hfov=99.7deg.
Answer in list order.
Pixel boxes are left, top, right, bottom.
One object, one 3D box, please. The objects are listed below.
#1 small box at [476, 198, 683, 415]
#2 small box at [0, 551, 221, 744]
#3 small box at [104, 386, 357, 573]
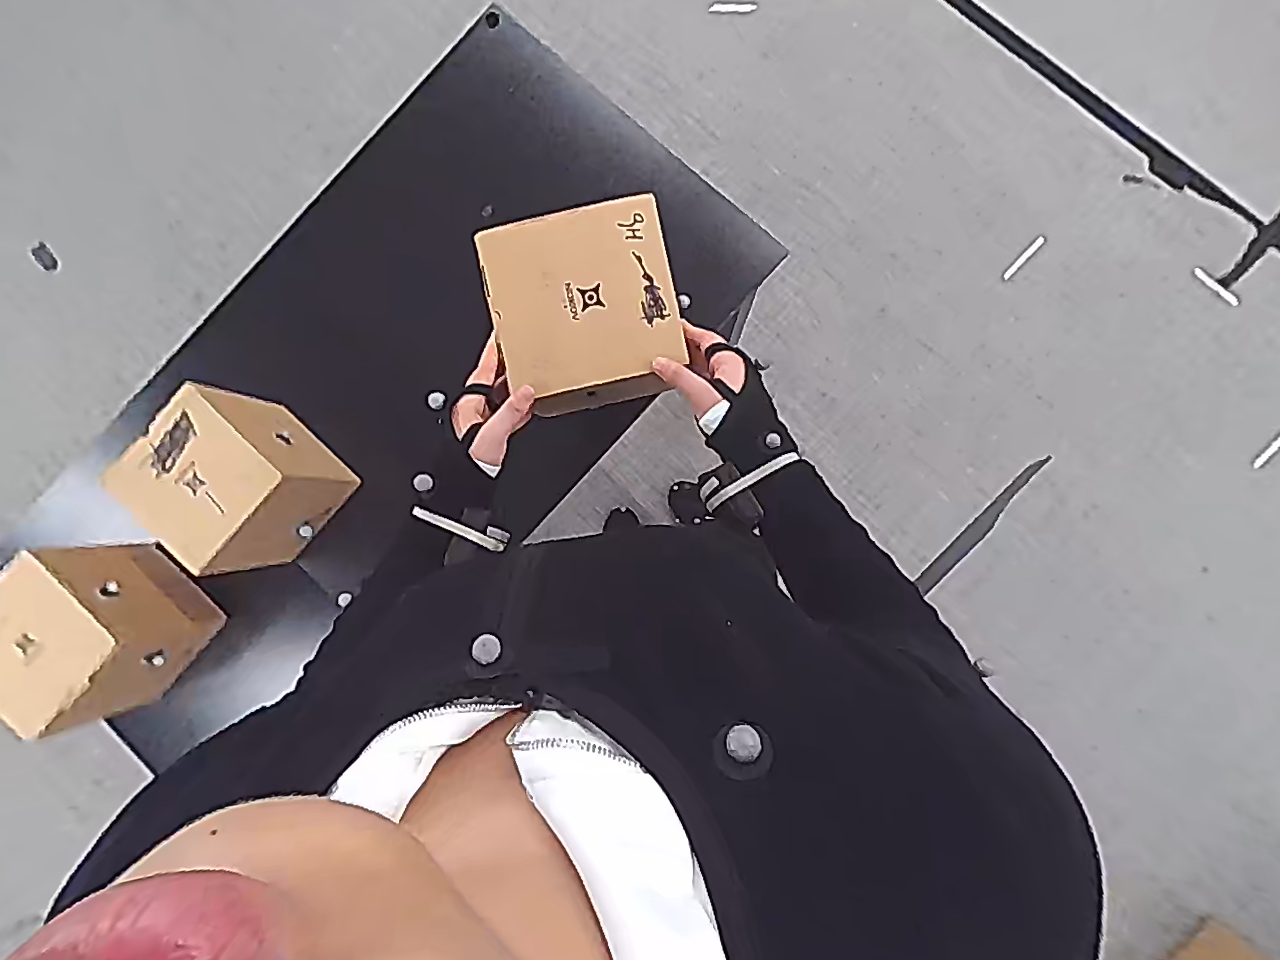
[{"bbox_3d":[-0.055,-0.172,0.593,0.179,0.176,0.168,-12,92,2],"label":"small box"},{"bbox_3d":[-0.740,0.210,0.740,0.179,0.176,0.168,41,89,5],"label":"small box"},{"bbox_3d":[-0.539,0.004,0.738,0.179,0.176,0.168,42,90,4],"label":"small box"}]
